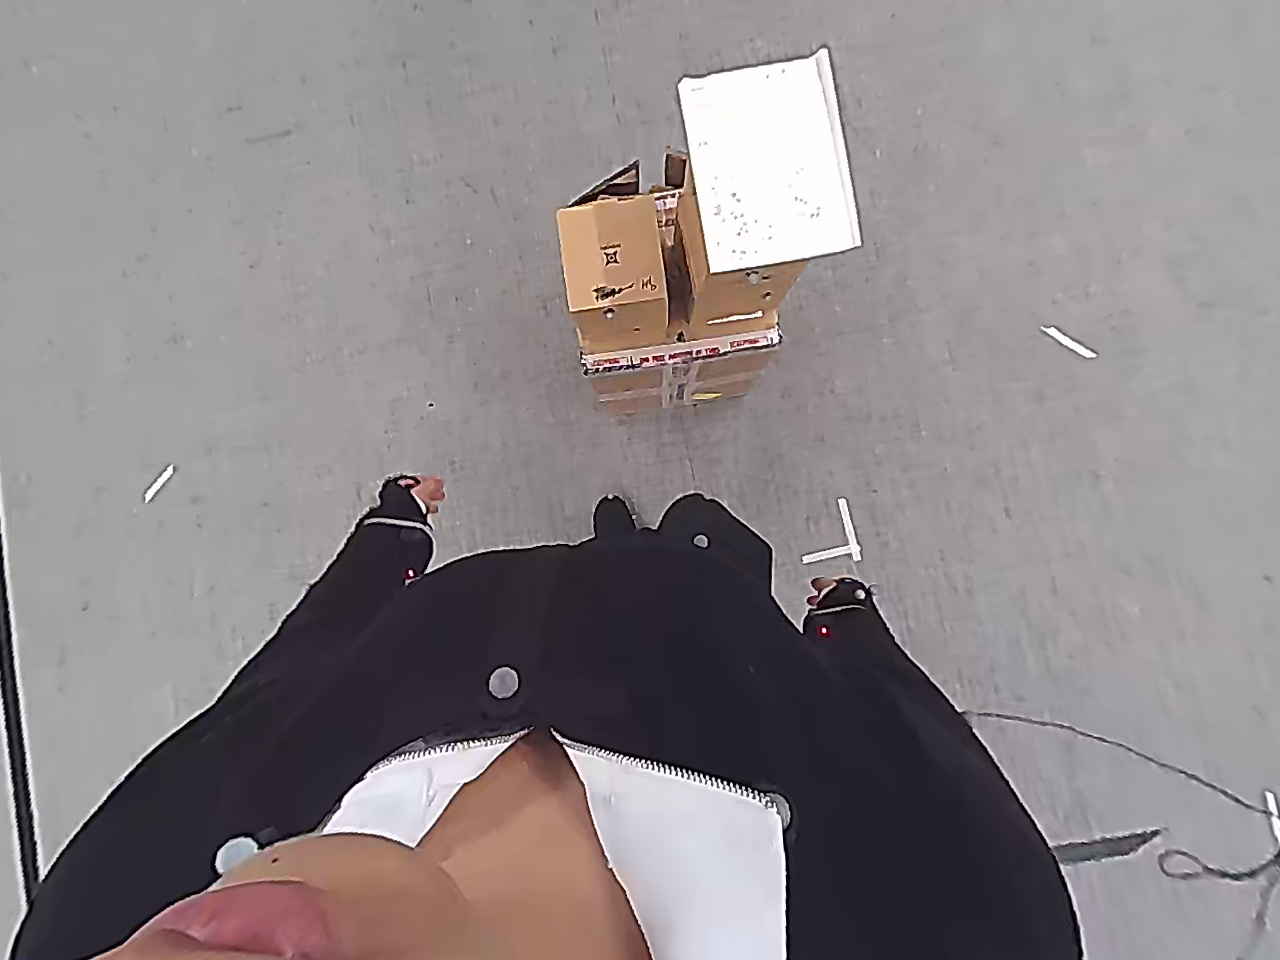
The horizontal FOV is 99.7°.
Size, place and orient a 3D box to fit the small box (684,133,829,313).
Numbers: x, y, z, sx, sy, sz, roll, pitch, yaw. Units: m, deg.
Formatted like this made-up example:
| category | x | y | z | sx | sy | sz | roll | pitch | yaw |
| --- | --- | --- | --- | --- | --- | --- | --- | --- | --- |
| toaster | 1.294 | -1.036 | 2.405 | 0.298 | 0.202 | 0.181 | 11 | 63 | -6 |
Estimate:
| category | x | y | z | sx | sy | sz | roll | pitch | yaw |
| --- | --- | --- | --- | --- | --- | --- | --- | --- | --- |
| small box | 0.163 | -0.372 | 0.810 | 0.168 | 0.176 | 0.179 | -9 | 88 | 0 |
